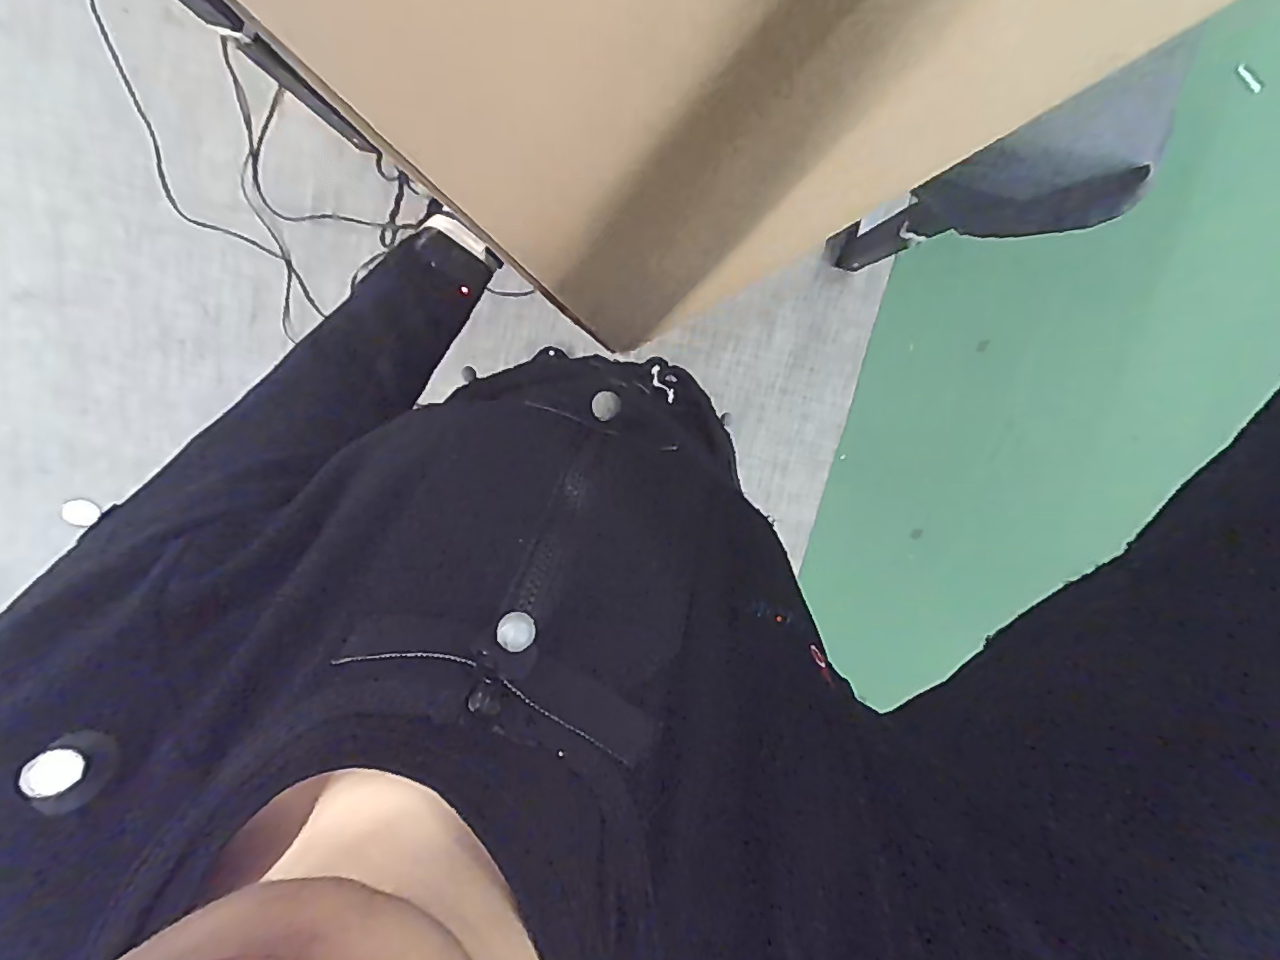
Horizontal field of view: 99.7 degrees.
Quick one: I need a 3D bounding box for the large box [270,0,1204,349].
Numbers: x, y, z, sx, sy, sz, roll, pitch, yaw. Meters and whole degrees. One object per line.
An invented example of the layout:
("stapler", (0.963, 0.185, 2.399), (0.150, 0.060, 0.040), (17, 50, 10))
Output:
("large box", (0.055, -0.342, 0.268), (0.408, 0.320, 0.320), (-29, 65, 19))
